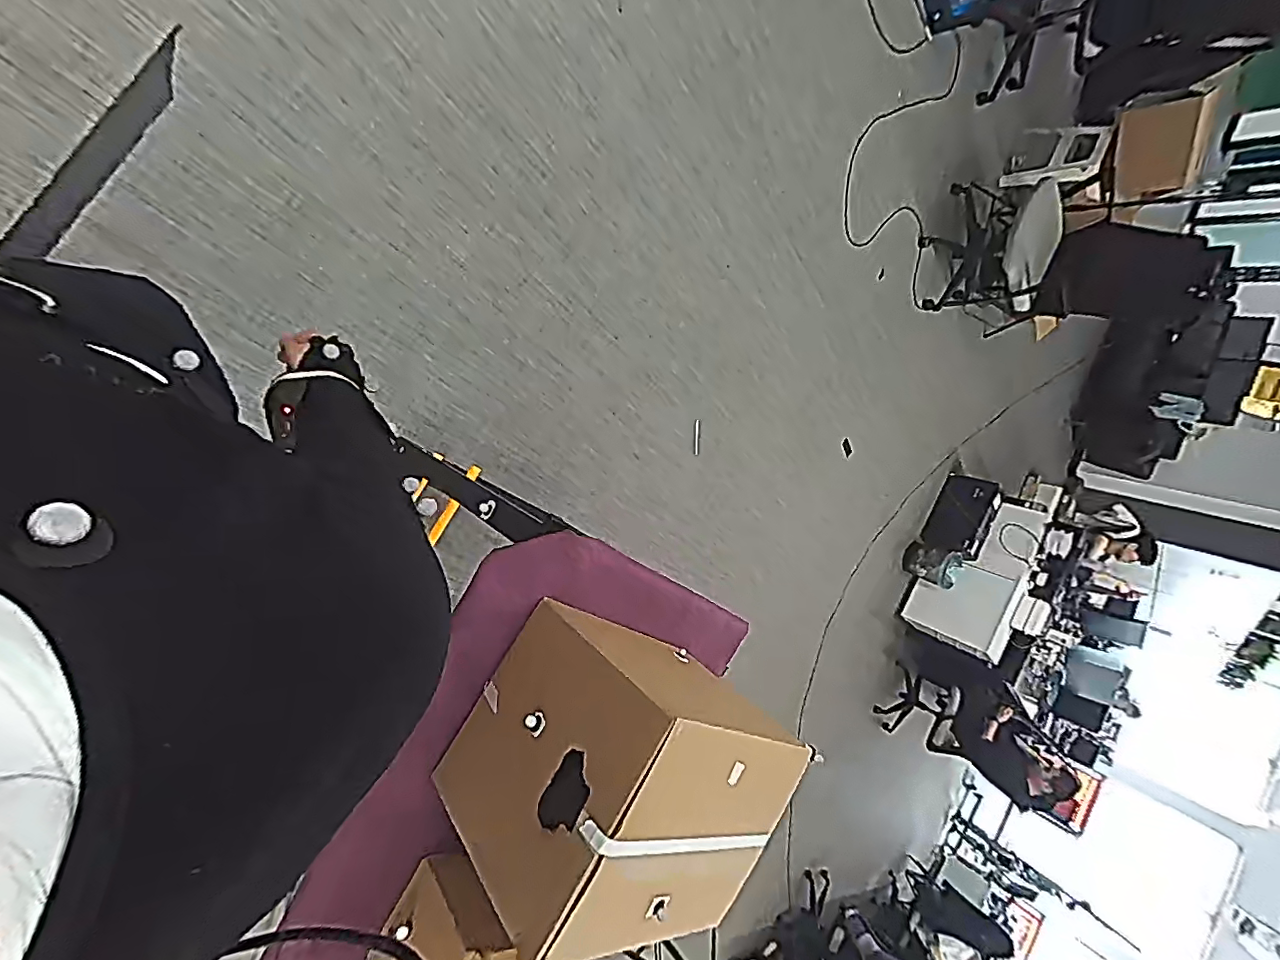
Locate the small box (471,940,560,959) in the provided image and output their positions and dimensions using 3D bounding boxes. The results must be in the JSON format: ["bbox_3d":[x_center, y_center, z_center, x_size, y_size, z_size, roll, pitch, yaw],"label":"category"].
[{"bbox_3d":[-0.165,0.756,0.699,0.168,0.176,0.179,38,78,-43],"label":"small box"}]
